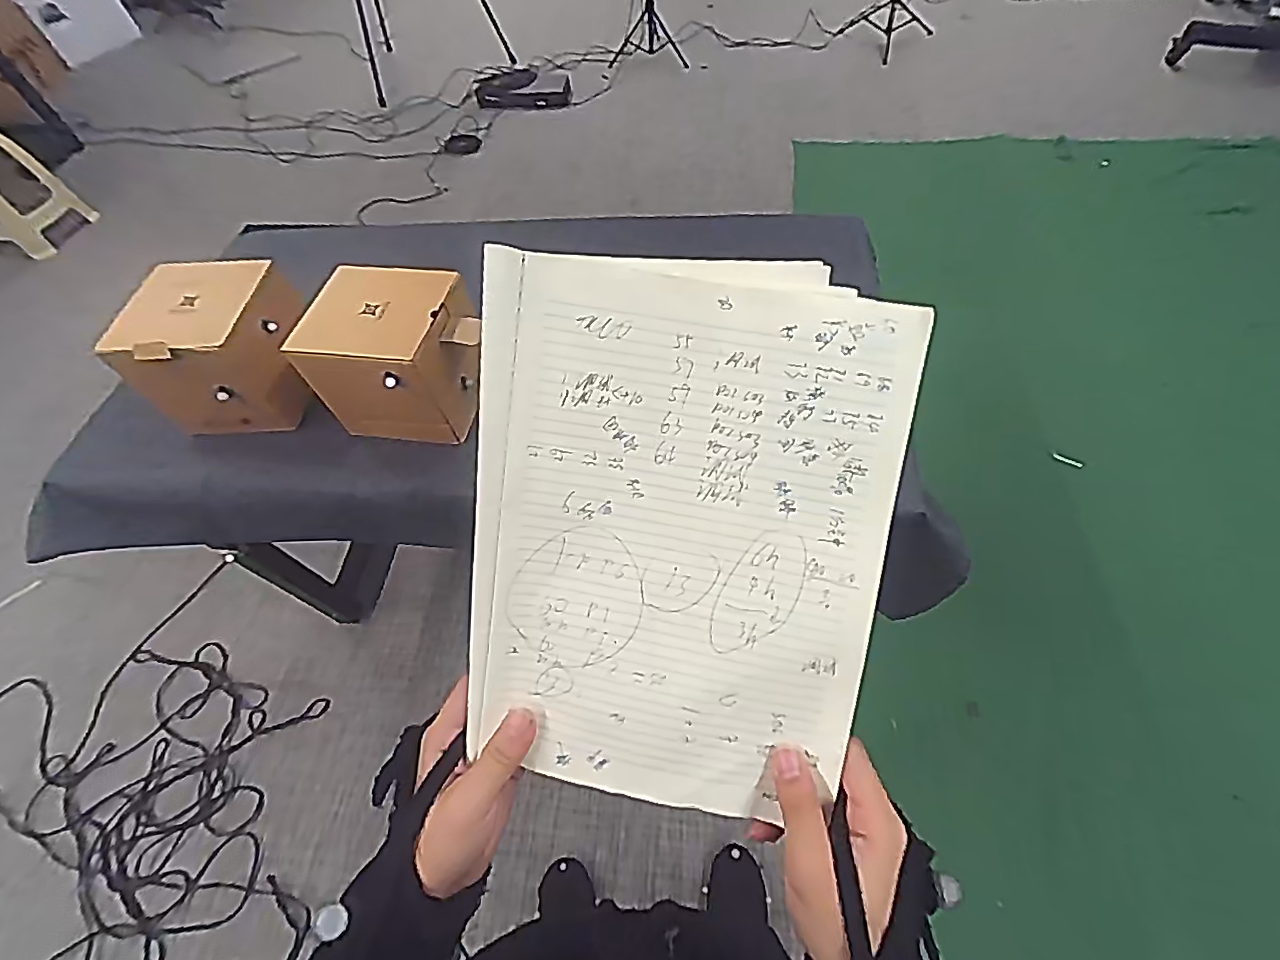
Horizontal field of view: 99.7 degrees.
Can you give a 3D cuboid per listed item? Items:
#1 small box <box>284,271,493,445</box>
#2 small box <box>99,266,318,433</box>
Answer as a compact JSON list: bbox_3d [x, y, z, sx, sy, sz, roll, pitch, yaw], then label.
[{"bbox_3d":[-0.328,-0.164,0.748,0.179,0.176,0.168,6,57,7],"label":"small box"},{"bbox_3d":[-0.585,-0.180,0.777,0.168,0.176,0.179,-1,56,2],"label":"small box"}]
